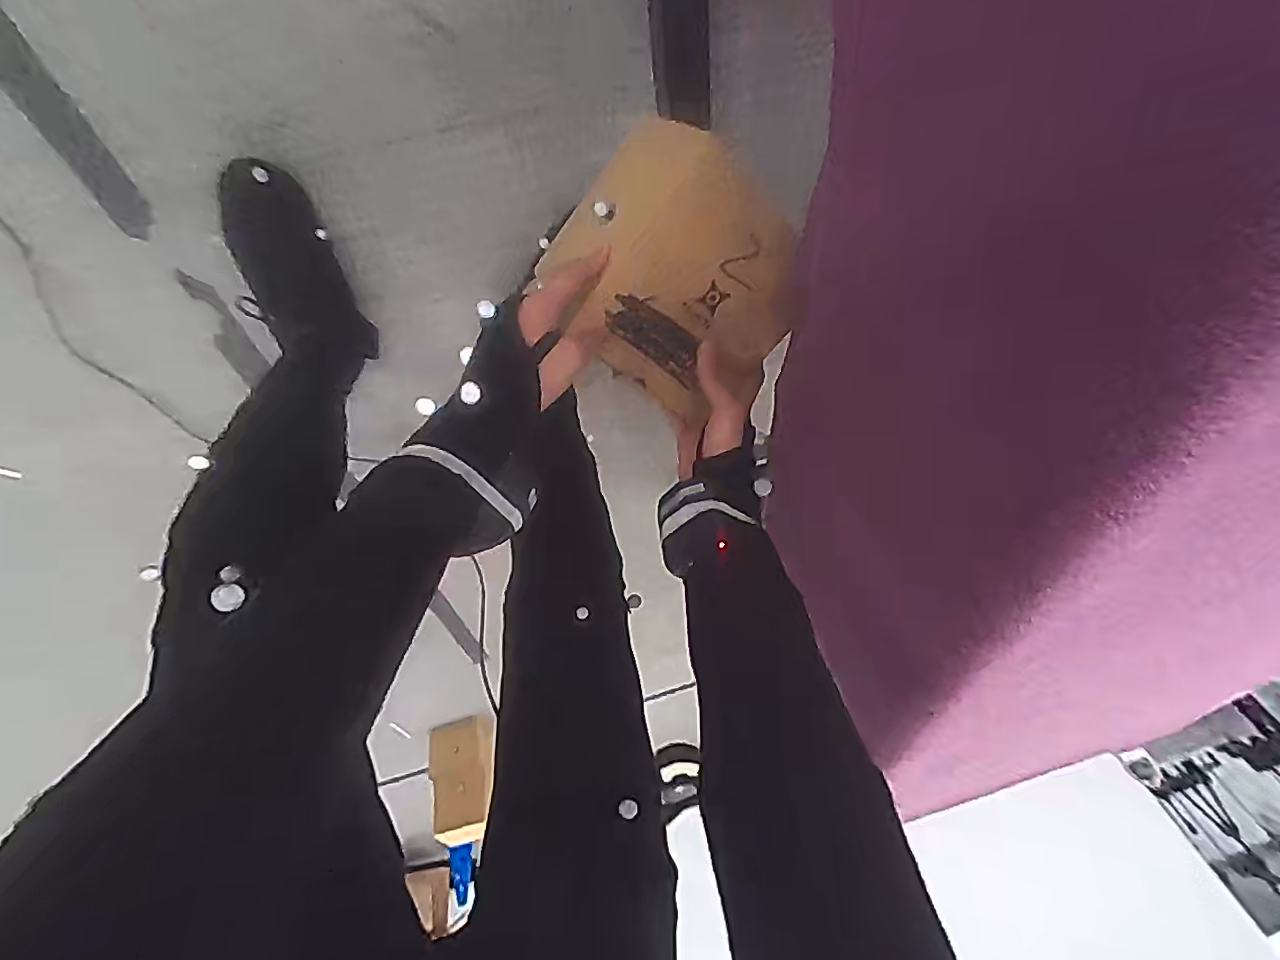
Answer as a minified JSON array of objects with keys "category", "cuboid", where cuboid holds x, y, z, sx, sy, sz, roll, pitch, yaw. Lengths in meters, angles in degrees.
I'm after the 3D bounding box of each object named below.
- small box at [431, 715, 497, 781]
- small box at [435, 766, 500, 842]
[{"category":"small box","cuboid":[-0.614,0.953,1.897,0.179,0.176,0.168,-16,139,-4]},{"category":"small box","cuboid":[-0.570,1.076,1.799,0.168,0.176,0.179,-12,138,-7]}]
